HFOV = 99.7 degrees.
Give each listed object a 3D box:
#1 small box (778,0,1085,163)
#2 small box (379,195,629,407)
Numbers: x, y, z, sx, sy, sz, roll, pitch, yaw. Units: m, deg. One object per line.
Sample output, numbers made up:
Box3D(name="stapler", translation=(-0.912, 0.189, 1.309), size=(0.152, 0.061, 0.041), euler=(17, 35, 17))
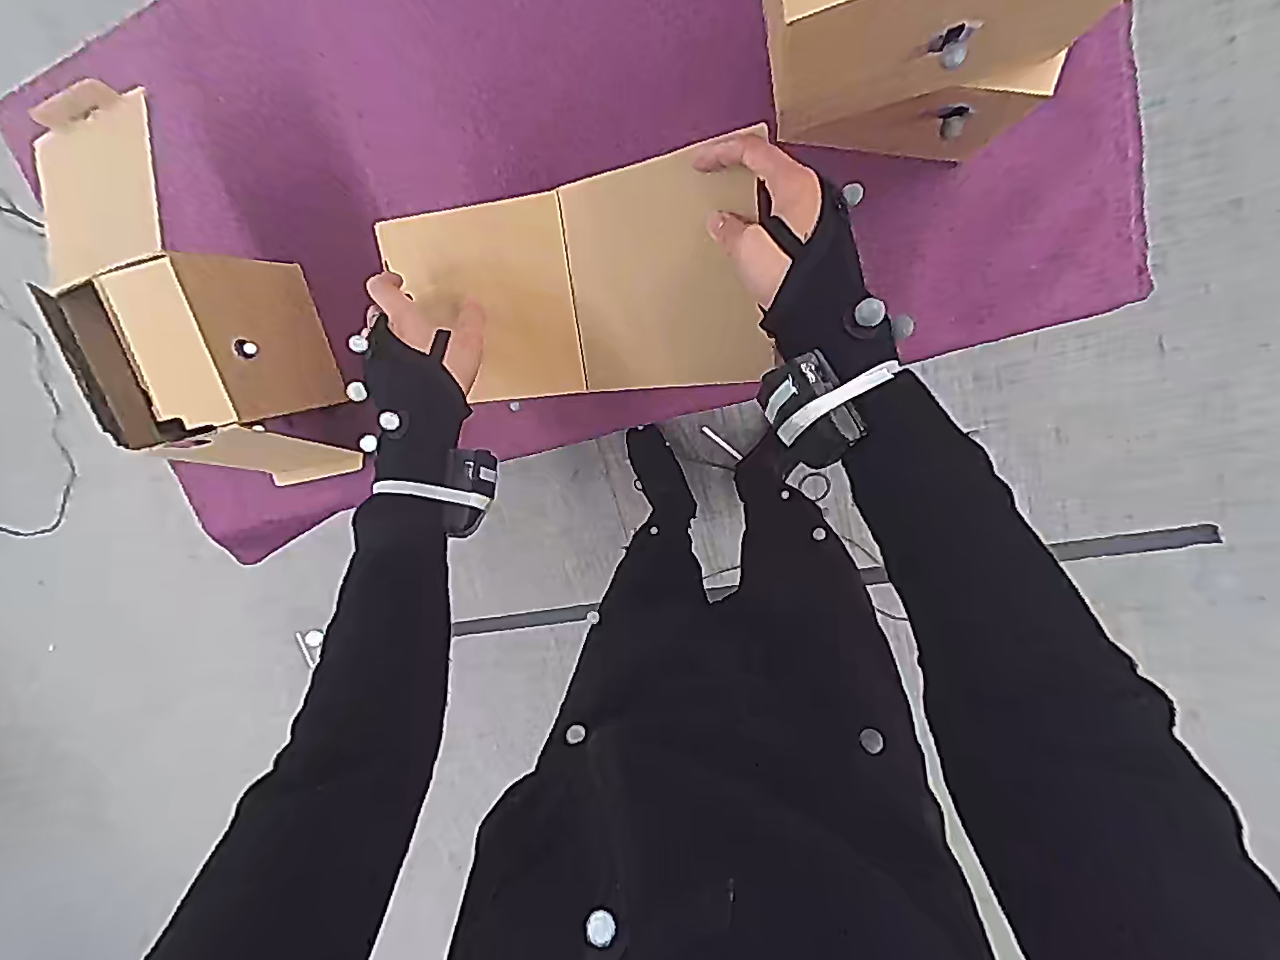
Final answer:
Box3D(name="small box", translation=(0.211, -0.359, 0.411), size=(0.179, 0.176, 0.168), euler=(13, 109, 9))
Box3D(name="small box", translation=(-0.121, -0.171, 0.549), size=(0.179, 0.176, 0.168), euler=(-3, 107, 13))
